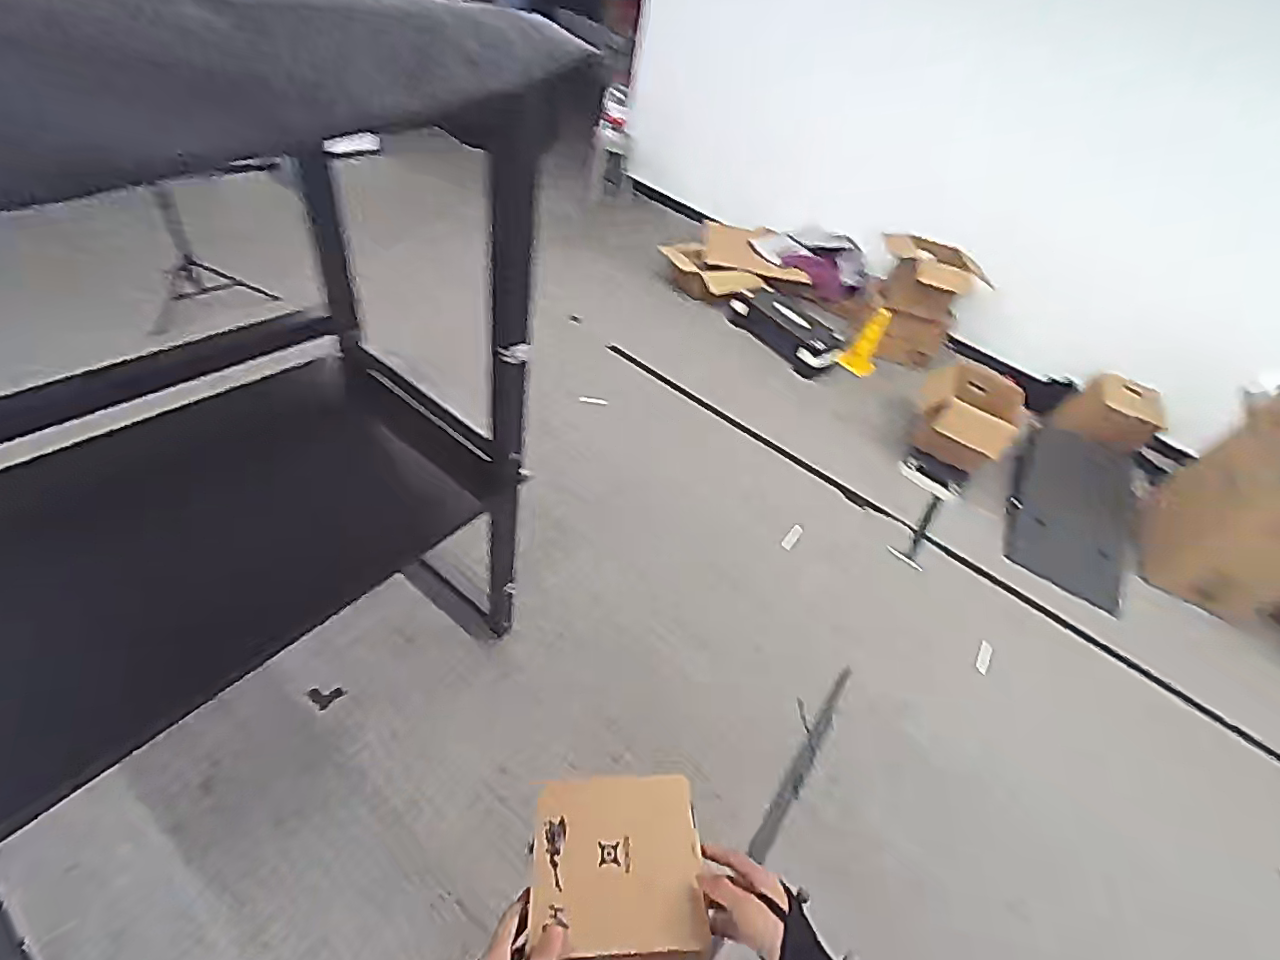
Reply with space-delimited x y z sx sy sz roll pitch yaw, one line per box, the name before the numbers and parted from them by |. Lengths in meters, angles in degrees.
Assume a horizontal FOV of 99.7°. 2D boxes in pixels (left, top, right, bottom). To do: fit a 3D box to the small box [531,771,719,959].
small box | -0.023 0.452 0.602 0.179 0.176 0.168 4 31 -5
